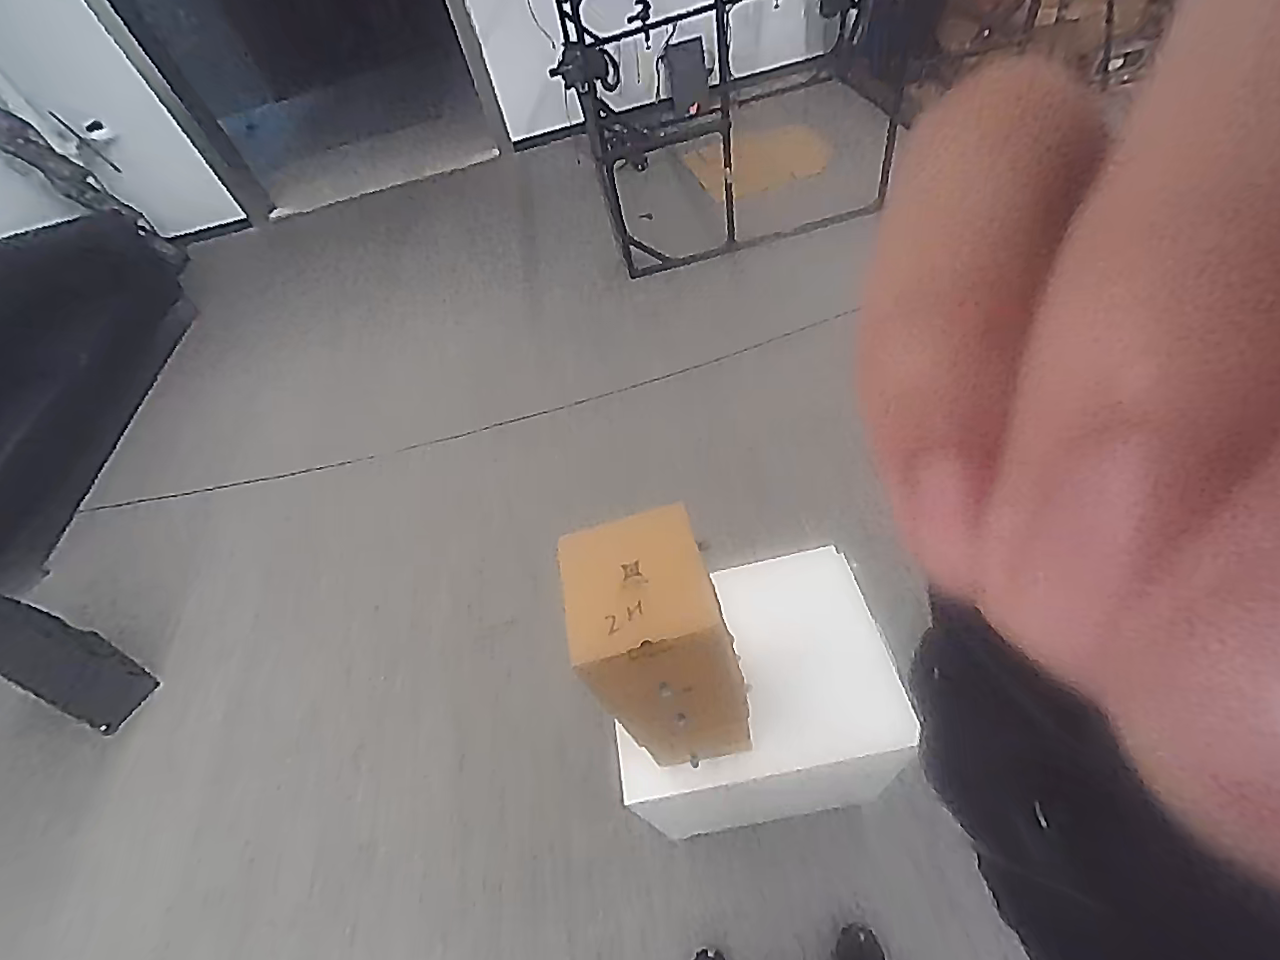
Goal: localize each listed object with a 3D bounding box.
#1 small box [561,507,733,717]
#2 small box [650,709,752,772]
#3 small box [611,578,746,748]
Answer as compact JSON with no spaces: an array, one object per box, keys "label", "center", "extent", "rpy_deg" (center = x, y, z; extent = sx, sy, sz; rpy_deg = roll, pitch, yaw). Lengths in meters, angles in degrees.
[{"label":"small box","center":[0.009,0.167,0.675],"extent":[0.168,0.176,0.179],"rpy_deg":[-17,48,2]},{"label":"small box","center":[0.088,0.372,0.920],"extent":[0.168,0.176,0.179],"rpy_deg":[-13,49,4]},{"label":"small box","center":[0.050,0.272,0.795],"extent":[0.179,0.176,0.168],"rpy_deg":[-17,48,2]}]
